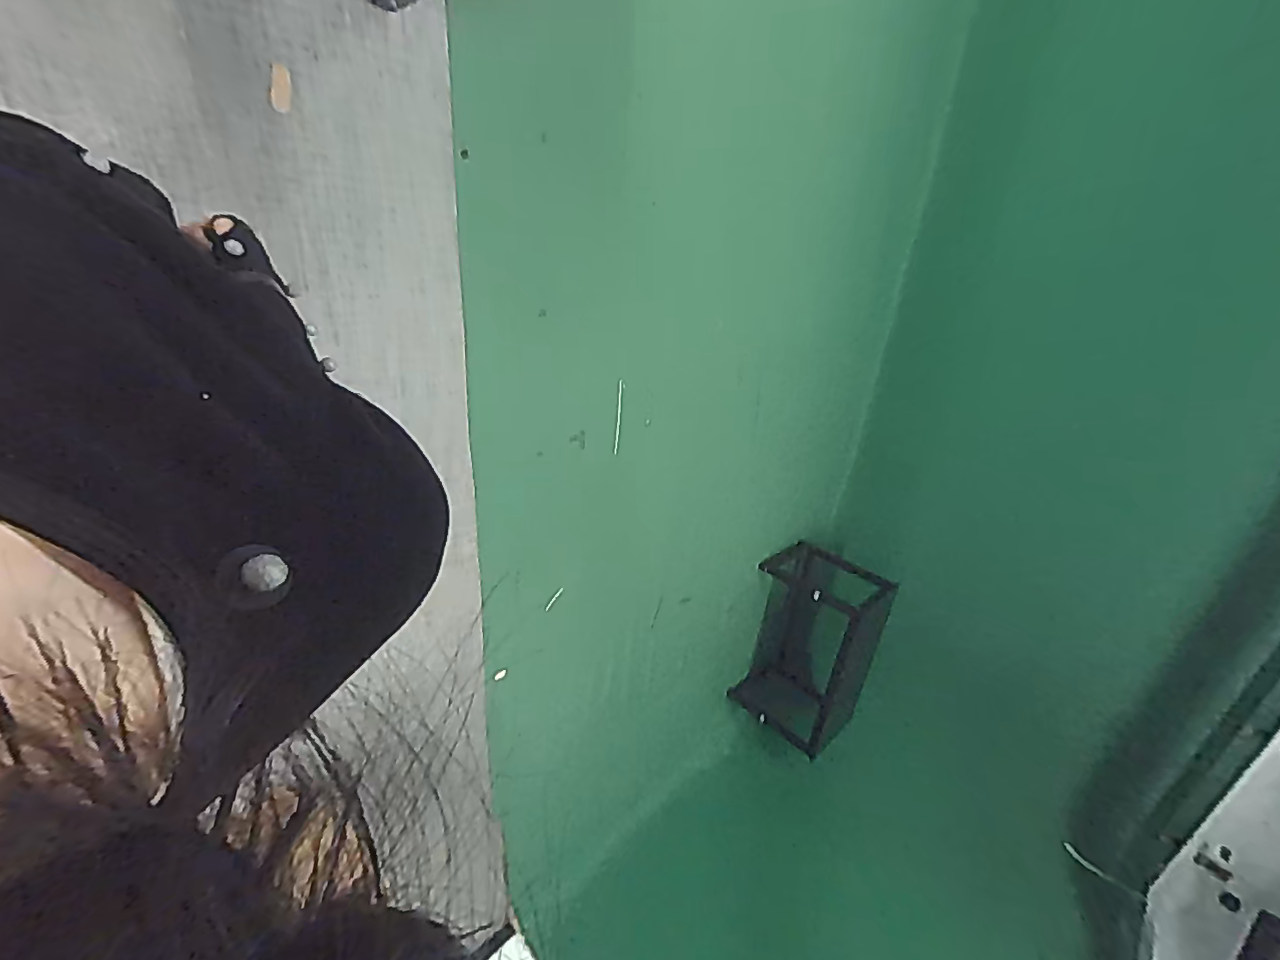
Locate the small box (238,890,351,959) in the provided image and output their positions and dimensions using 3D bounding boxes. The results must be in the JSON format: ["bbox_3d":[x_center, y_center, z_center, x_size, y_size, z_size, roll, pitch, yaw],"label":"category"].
[{"bbox_3d":[-0.870,1.190,1.361,0.168,0.176,0.179,-33,133,-32],"label":"small box"}]
